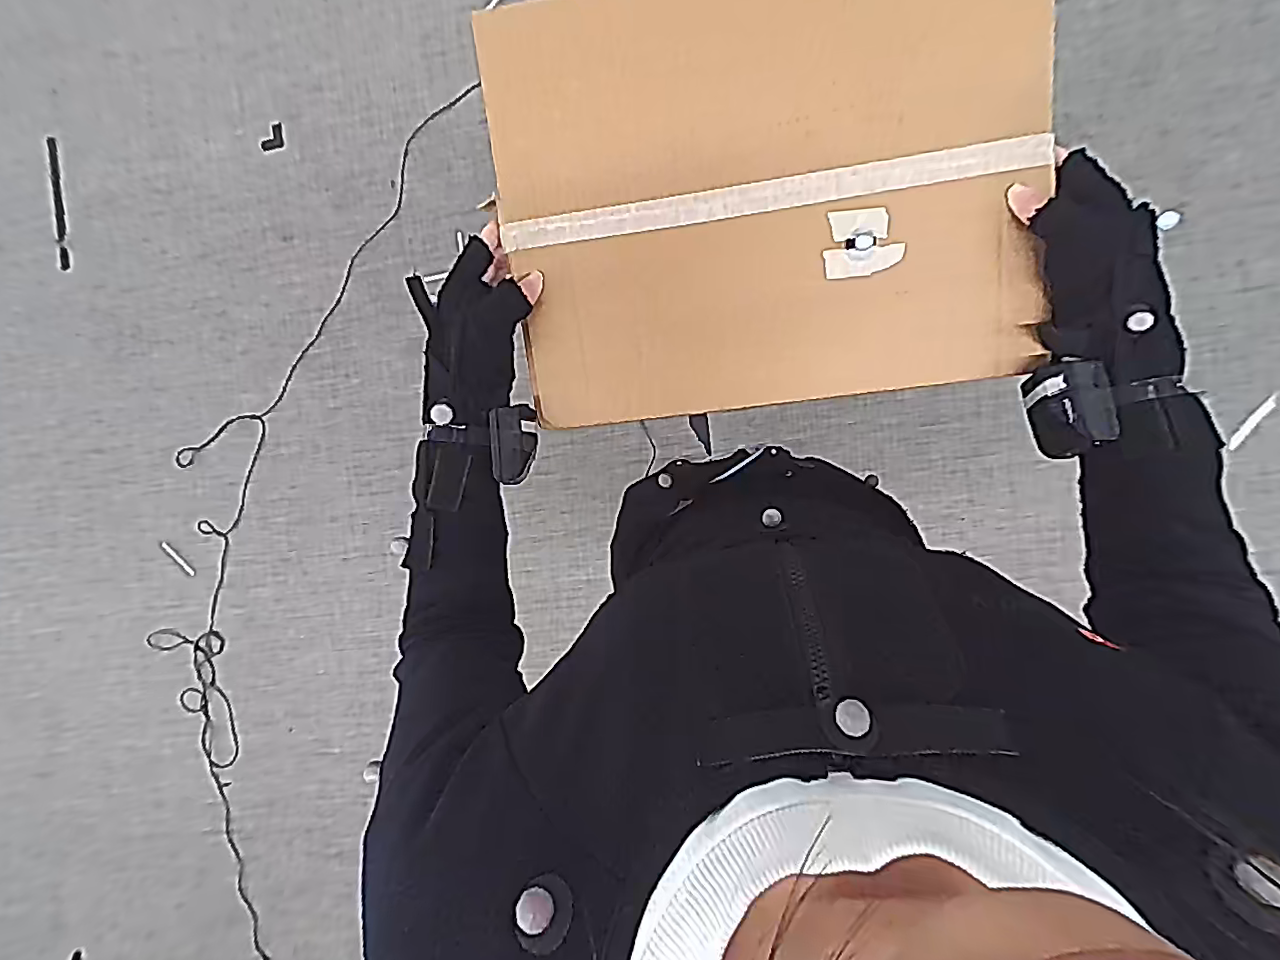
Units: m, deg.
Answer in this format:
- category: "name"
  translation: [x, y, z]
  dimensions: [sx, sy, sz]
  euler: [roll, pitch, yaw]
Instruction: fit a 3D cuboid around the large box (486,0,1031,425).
- category: "large box"
  translation: [0.105, -0.248, 0.570]
  dimensions: [0.408, 0.320, 0.320]
  euler: [-6, 101, 6]
